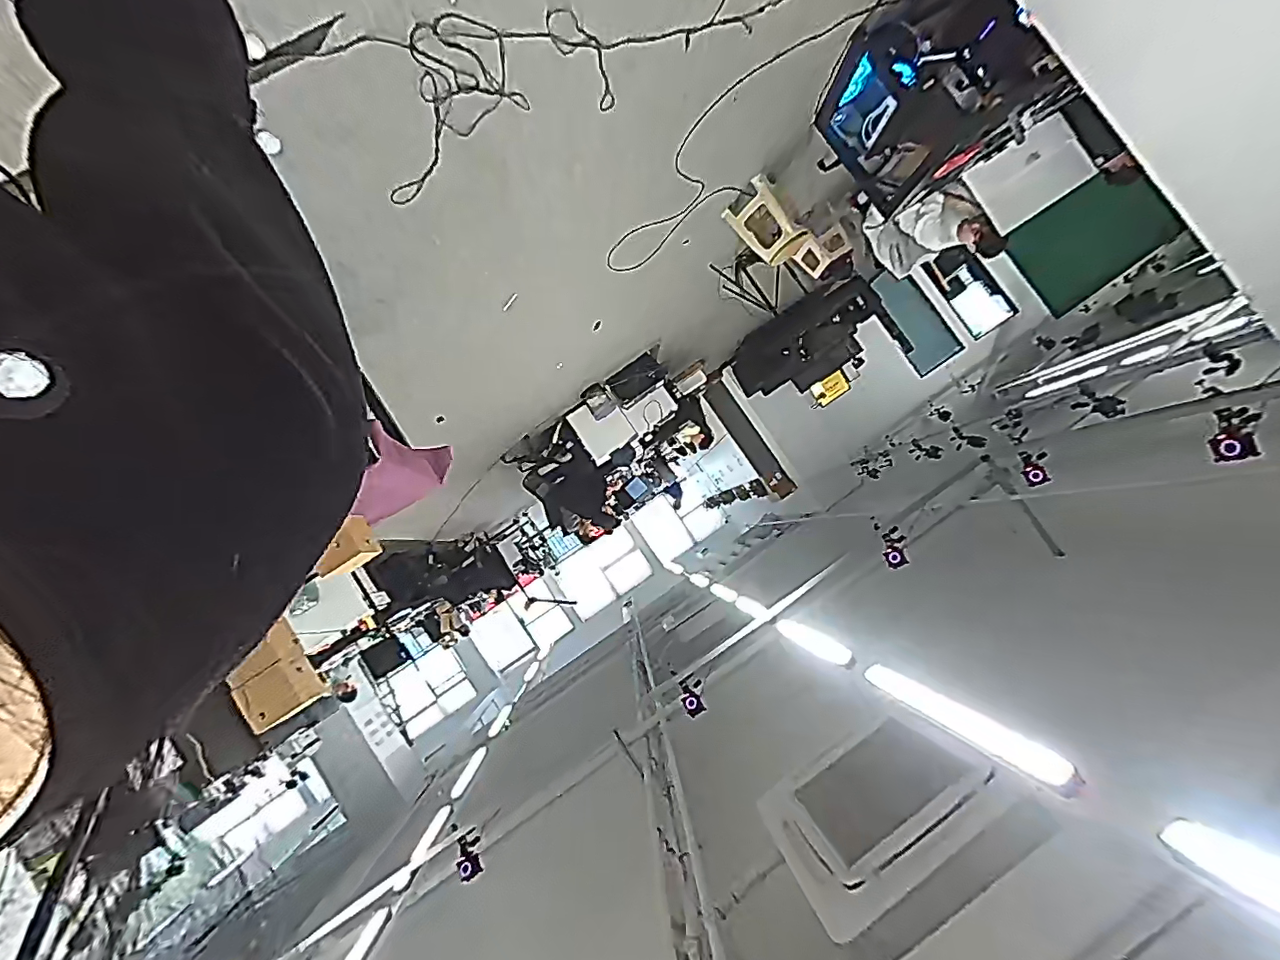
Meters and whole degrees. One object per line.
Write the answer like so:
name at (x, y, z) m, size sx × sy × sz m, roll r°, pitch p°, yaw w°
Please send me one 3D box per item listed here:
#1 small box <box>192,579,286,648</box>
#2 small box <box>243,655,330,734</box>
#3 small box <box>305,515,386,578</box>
small box at (-1.407, 0.459, 1.901) m, size 0.179 × 0.176 × 0.168 m, roll -33°, pitch 175°, yaw -8°
small box at (-1.230, 0.735, 1.875) m, size 0.179 × 0.176 × 0.168 m, roll -34°, pitch 176°, yaw -7°
small box at (-1.078, 0.239, 1.978) m, size 0.168 × 0.176 × 0.179 m, roll -34°, pitch 177°, yaw -5°
